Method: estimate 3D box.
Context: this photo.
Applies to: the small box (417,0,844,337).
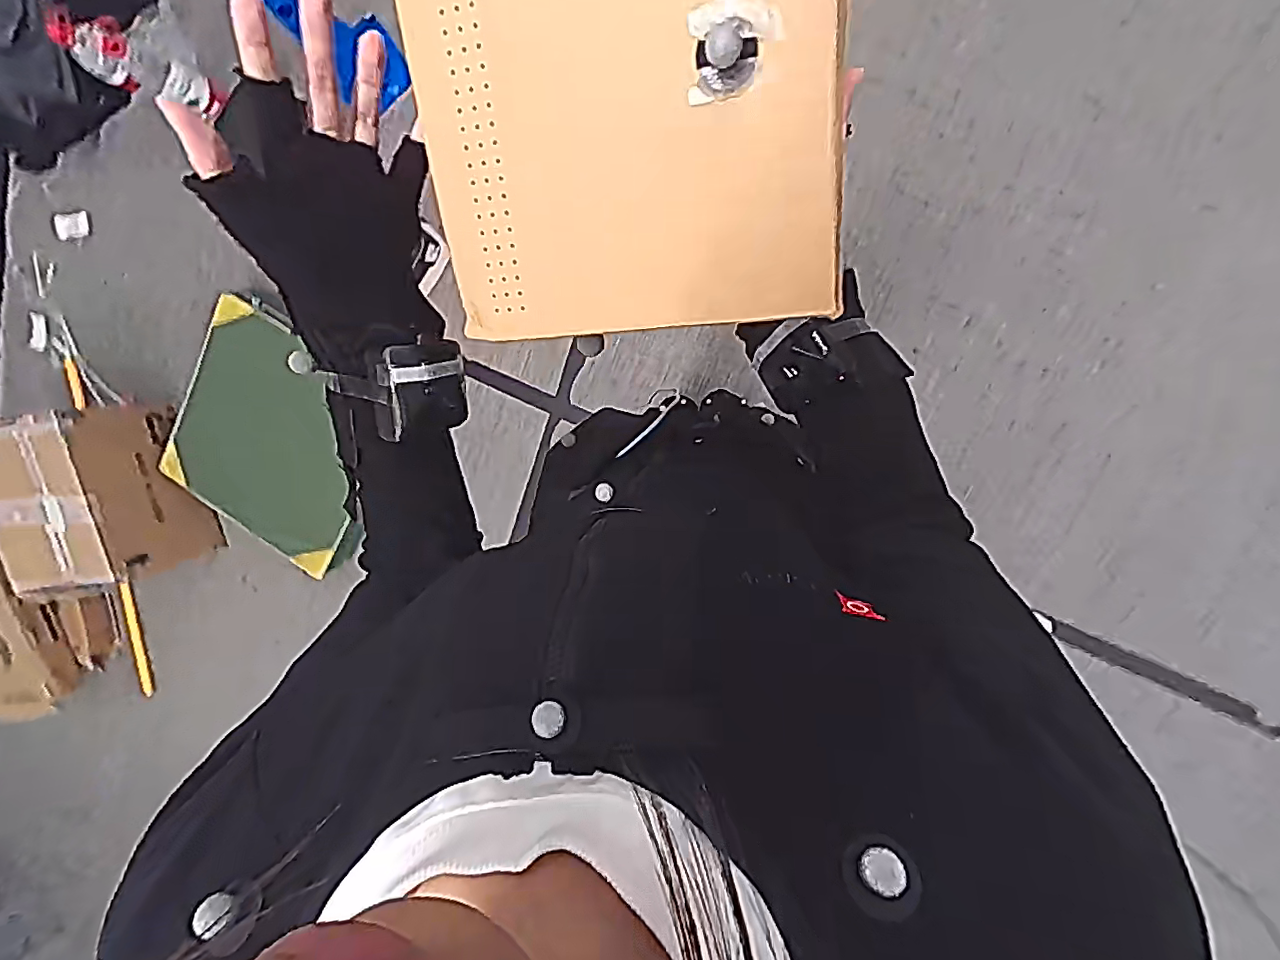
[{"bbox_3d":[0.007,-0.178,0.286,0.176,0.168,0.179,0,111,14],"label":"small box"}]
